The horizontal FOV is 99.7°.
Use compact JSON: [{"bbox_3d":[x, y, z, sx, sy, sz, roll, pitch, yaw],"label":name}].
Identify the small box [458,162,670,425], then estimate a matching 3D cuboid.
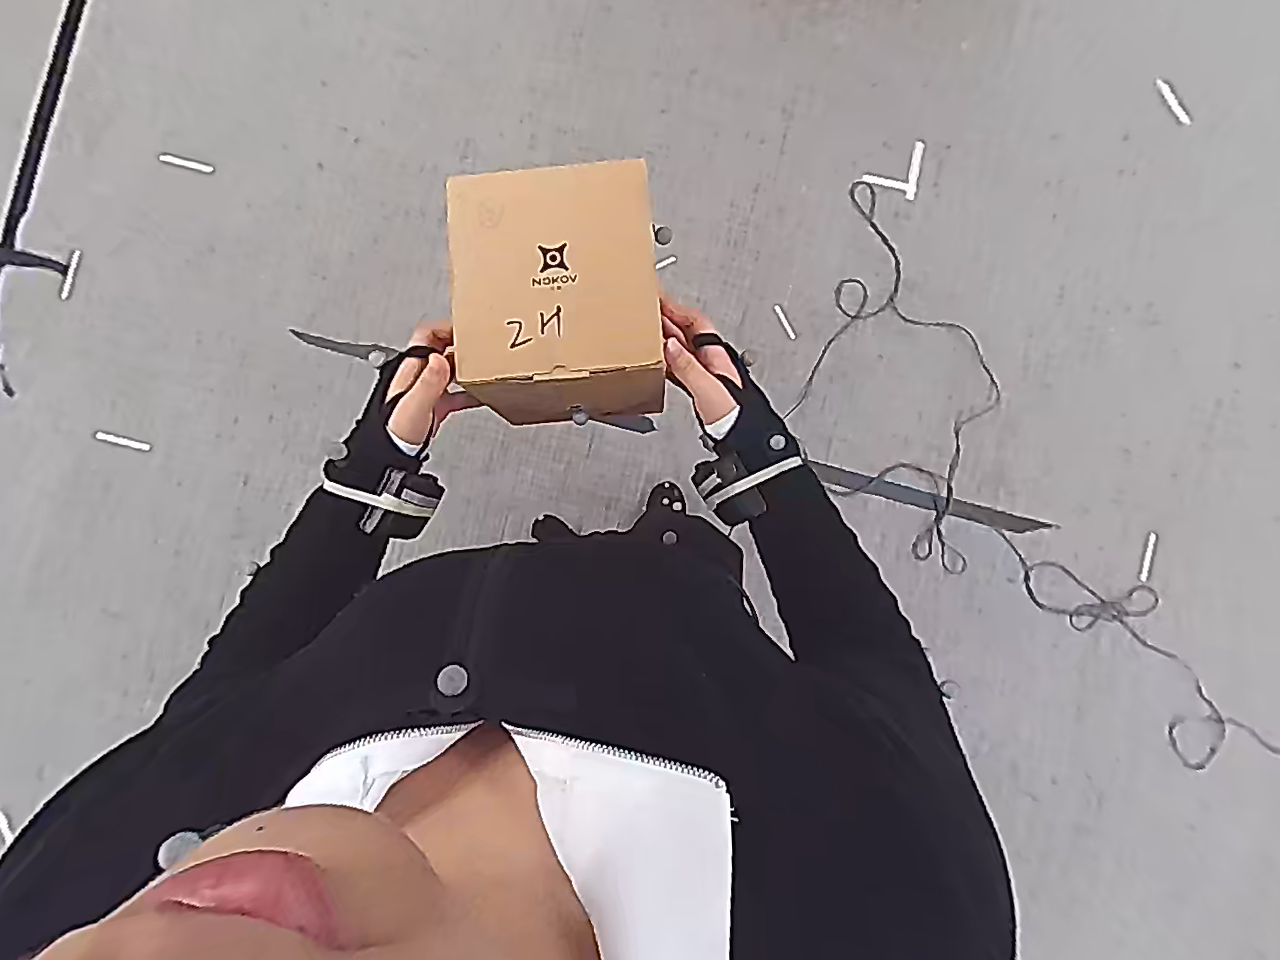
[{"bbox_3d":[-0.061,-0.157,0.506,0.168,0.176,0.179,-4,85,2],"label":"small box"}]
